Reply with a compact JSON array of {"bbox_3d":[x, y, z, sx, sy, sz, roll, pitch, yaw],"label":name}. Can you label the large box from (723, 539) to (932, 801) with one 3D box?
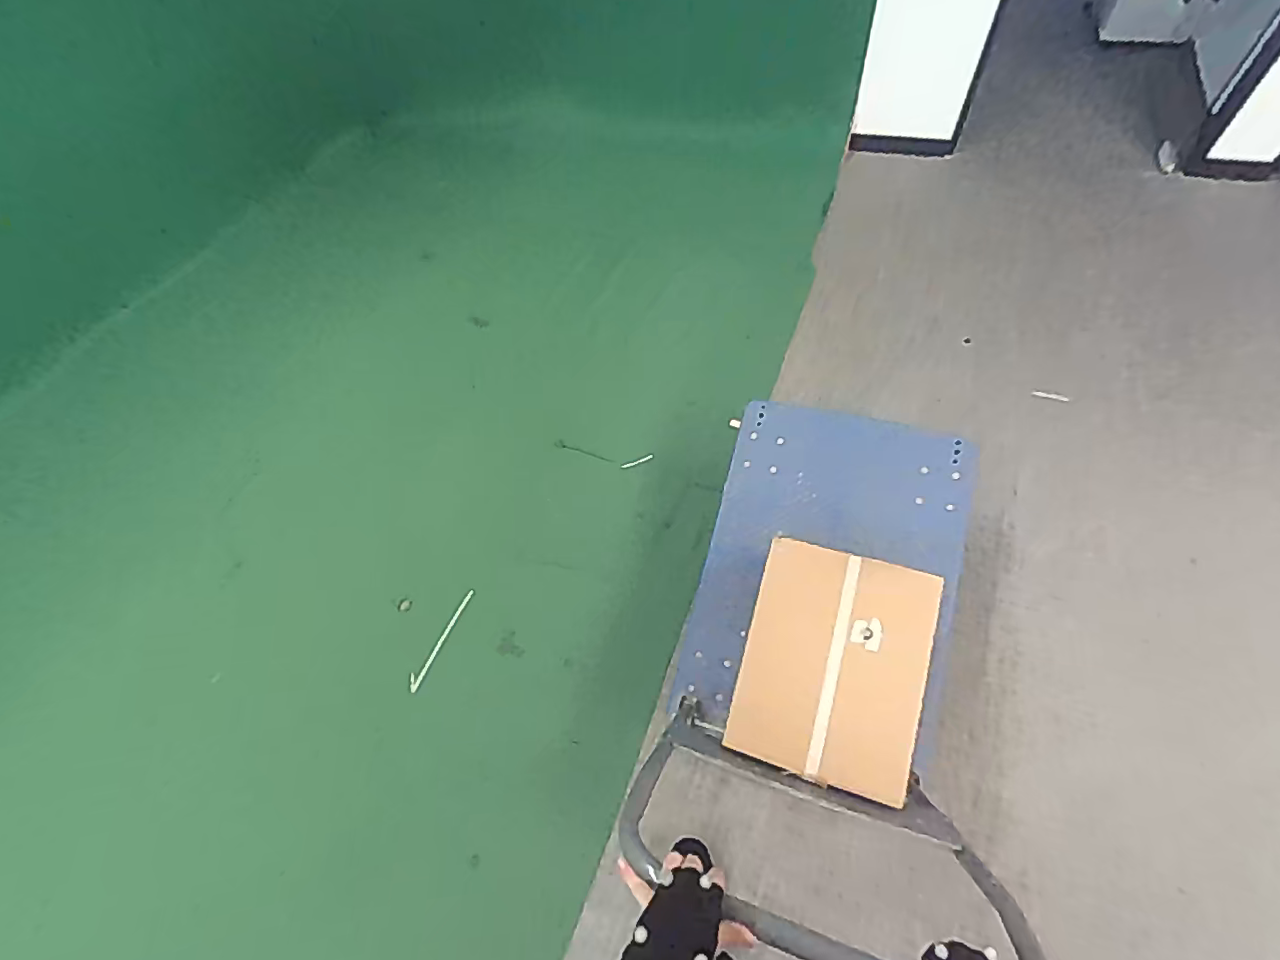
[{"bbox_3d":[0.382,0.378,1.146,0.320,0.320,0.408,14,78,15],"label":"large box"}]
